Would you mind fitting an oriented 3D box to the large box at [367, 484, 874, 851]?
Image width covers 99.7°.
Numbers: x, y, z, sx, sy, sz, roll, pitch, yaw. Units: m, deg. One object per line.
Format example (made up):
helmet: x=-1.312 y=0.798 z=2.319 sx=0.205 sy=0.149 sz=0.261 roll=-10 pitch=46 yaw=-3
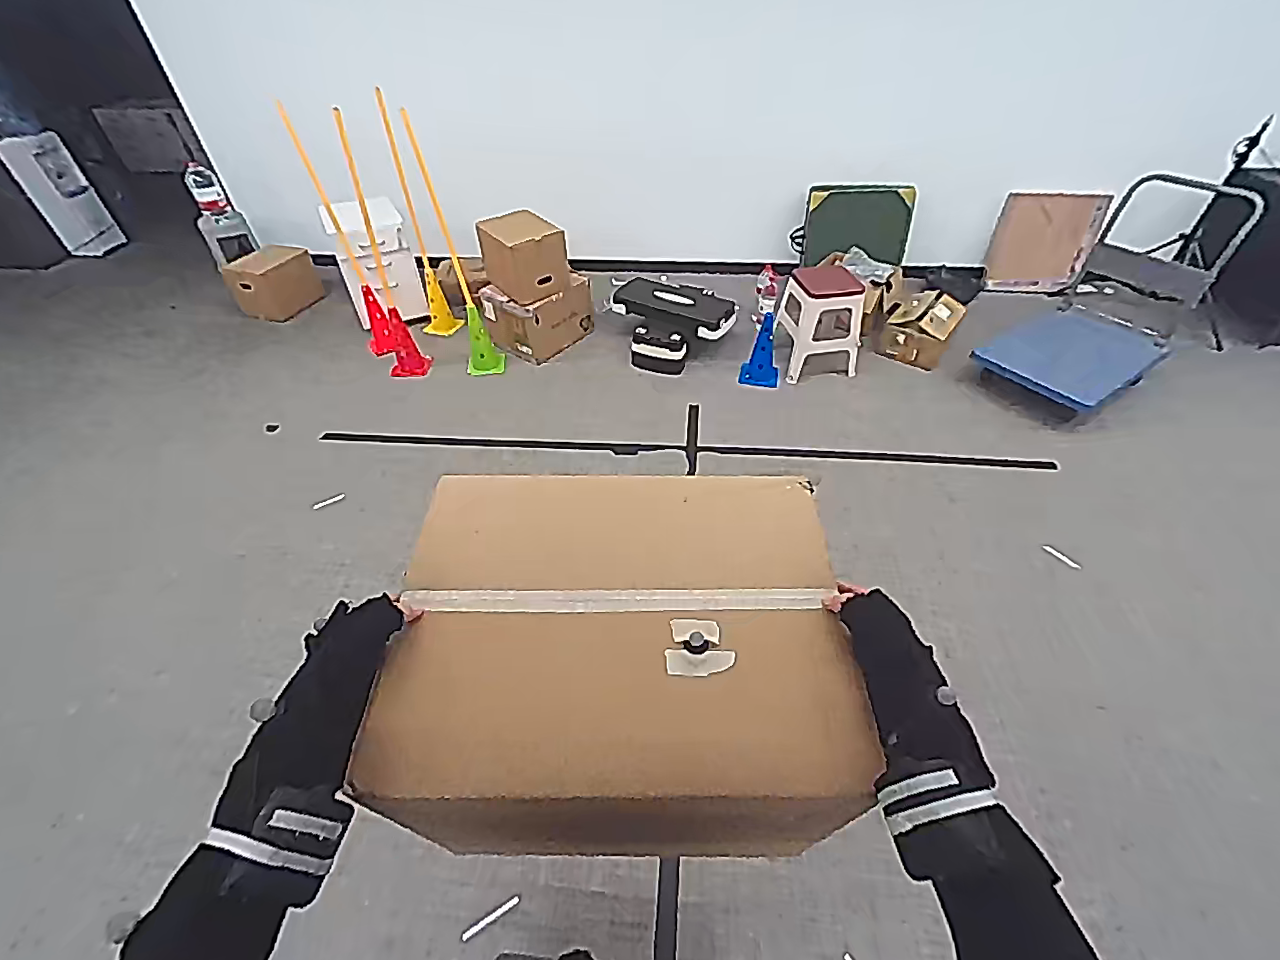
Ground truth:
large box: x=-0.018 y=0.218 z=0.625 sx=0.408 sy=0.320 sz=0.320 roll=0 pitch=49 yaw=0
